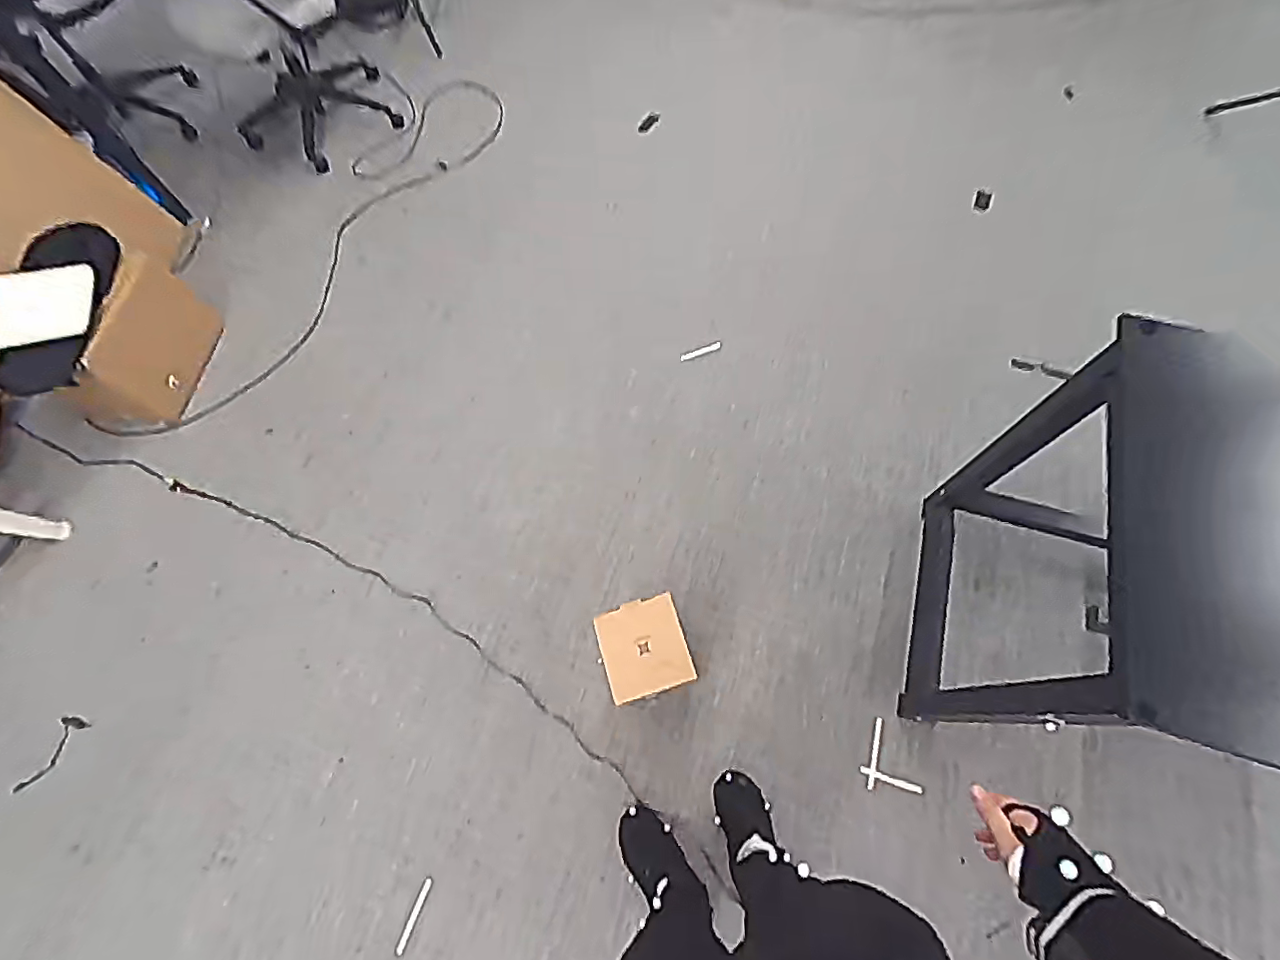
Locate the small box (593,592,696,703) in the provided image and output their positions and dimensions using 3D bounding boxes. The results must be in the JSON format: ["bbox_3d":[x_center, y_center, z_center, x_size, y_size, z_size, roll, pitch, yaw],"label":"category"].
[{"bbox_3d":[0.009,0.358,1.138,0.168,0.176,0.179,-18,68,-4],"label":"small box"}]
